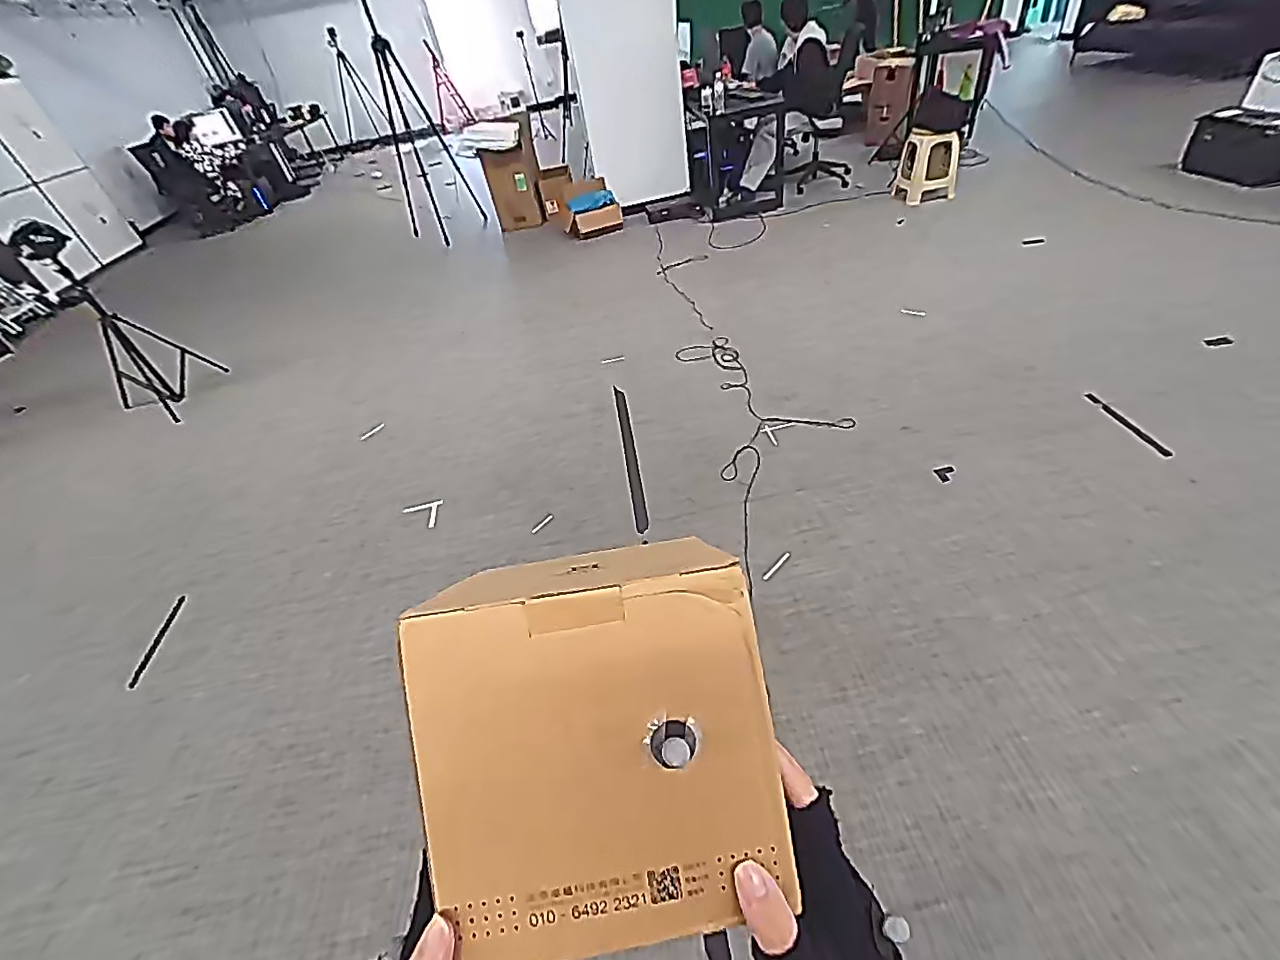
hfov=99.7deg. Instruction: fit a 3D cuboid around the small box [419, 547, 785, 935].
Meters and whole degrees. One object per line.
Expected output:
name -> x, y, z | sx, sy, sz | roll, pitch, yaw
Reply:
small box -> -0.018, 0.146, 0.348 | 0.168, 0.176, 0.179 | -9, -2, -1
